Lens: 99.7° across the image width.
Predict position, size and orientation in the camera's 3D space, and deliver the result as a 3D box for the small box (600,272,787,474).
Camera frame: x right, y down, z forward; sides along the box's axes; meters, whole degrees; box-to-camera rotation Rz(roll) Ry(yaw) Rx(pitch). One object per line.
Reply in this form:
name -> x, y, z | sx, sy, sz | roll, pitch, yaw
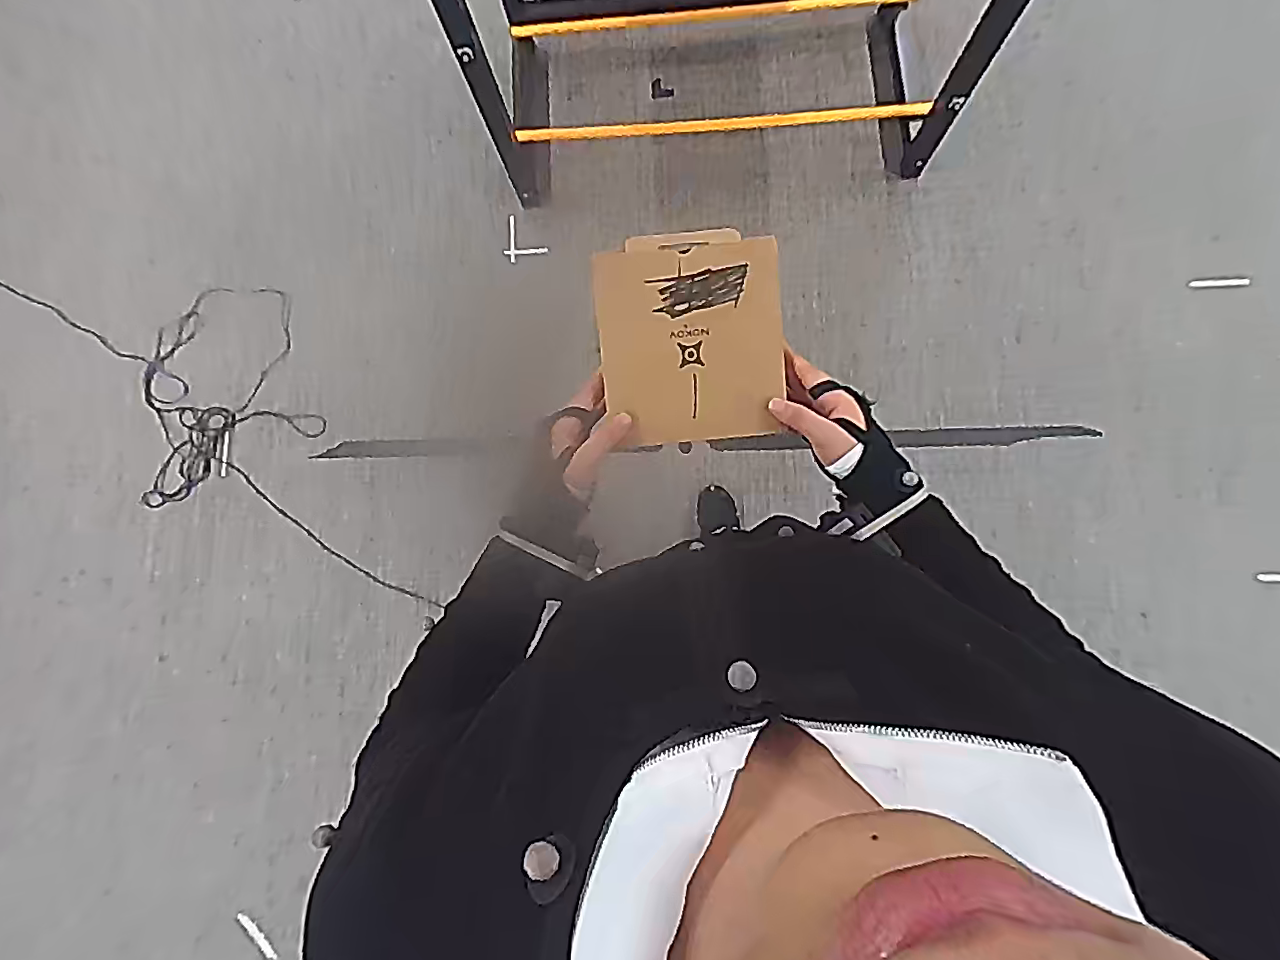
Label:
small box -> 0.050, -0.105, 0.579 | 0.168, 0.176, 0.179 | -6, 97, 1
